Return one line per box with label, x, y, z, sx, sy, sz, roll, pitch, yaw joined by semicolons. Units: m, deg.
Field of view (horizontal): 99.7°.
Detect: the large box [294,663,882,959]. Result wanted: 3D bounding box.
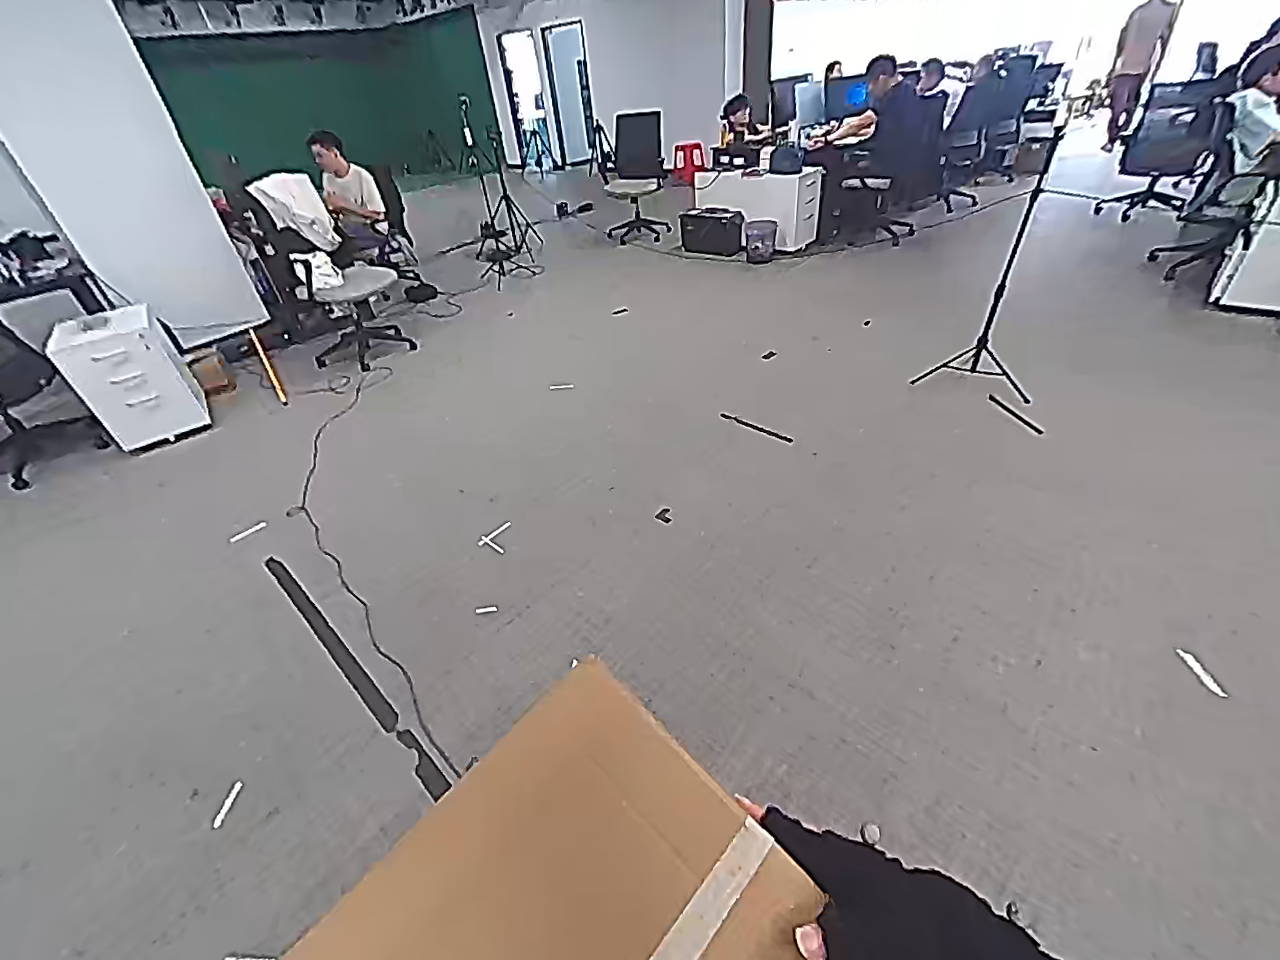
large box;-0.083;0.420;0.395;0.320;0.320;0.408;42;62;13
